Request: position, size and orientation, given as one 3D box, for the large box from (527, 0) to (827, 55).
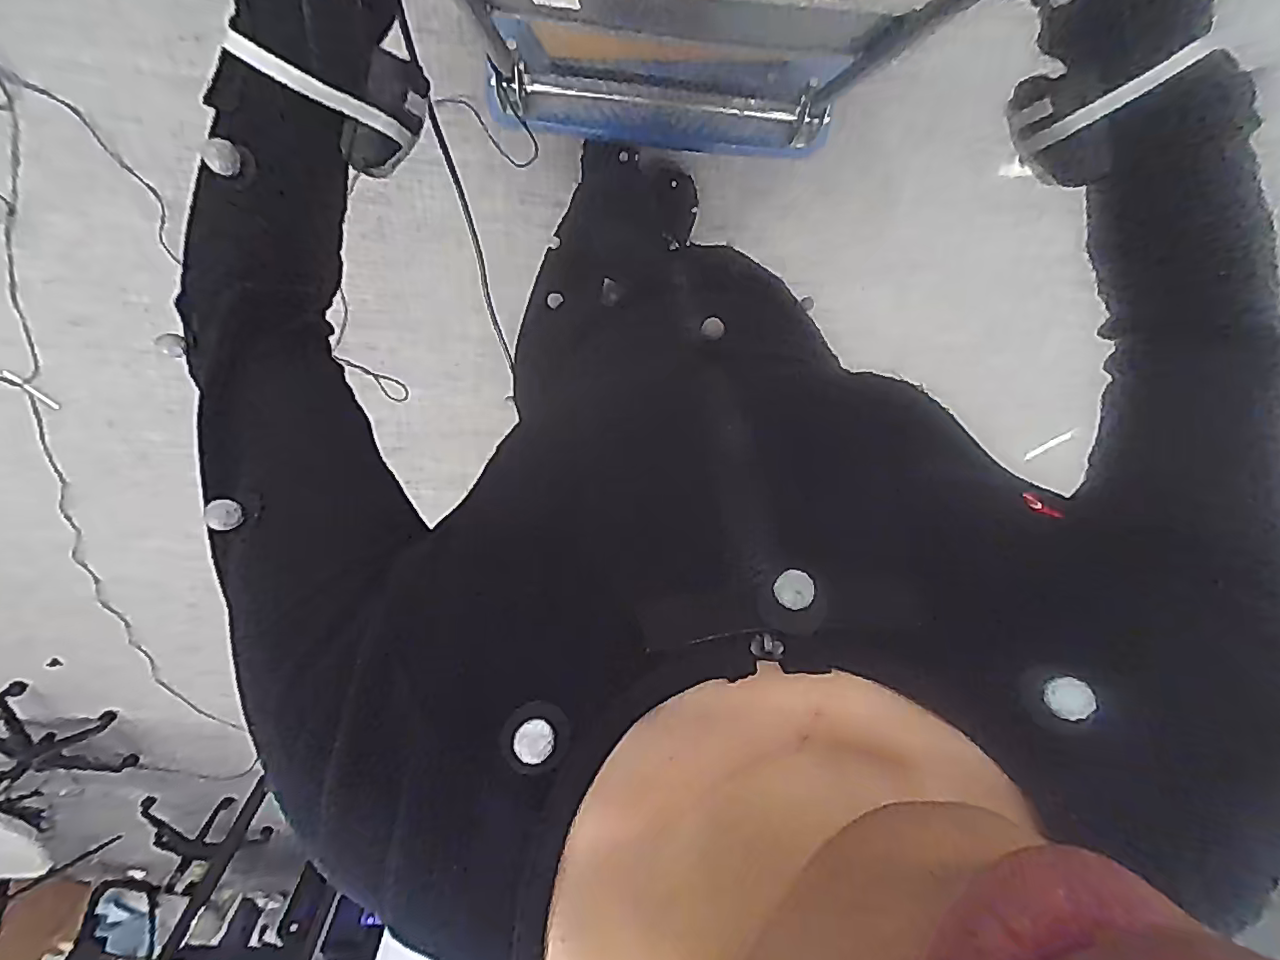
[{"bbox_3d":[0.045,-0.771,0.678,0.408,0.320,0.320,-2,114,-3],"label":"large box"}]
